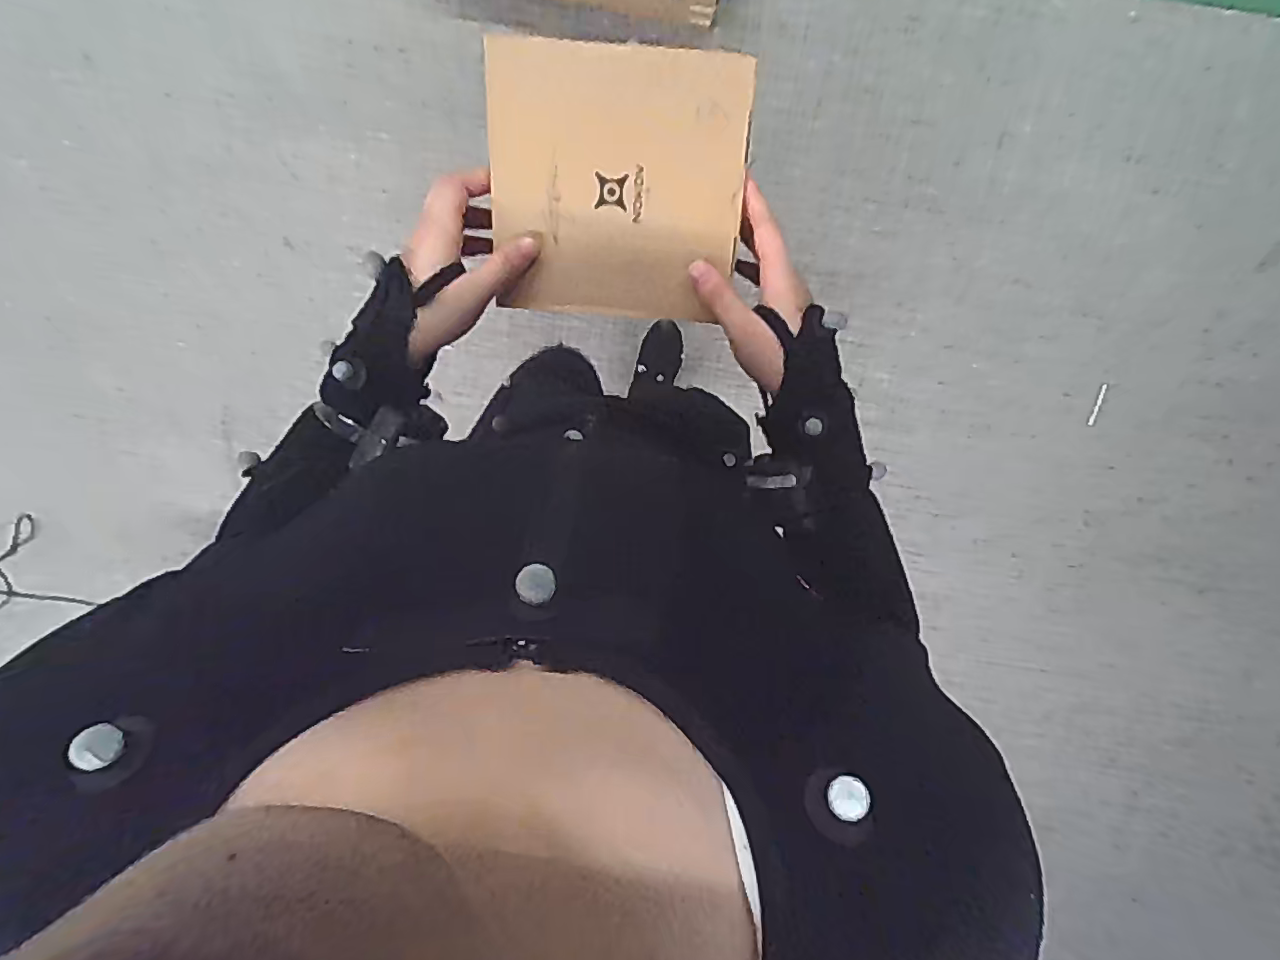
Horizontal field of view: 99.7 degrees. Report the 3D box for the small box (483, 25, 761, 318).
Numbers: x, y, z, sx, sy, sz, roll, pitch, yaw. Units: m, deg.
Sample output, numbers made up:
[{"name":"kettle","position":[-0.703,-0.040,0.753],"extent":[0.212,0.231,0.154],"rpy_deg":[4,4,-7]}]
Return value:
[{"name":"small box","position":[-0.014,-0.230,0.437],"extent":[0.179,0.176,0.168],"rpy_deg":[3,112,0]}]
